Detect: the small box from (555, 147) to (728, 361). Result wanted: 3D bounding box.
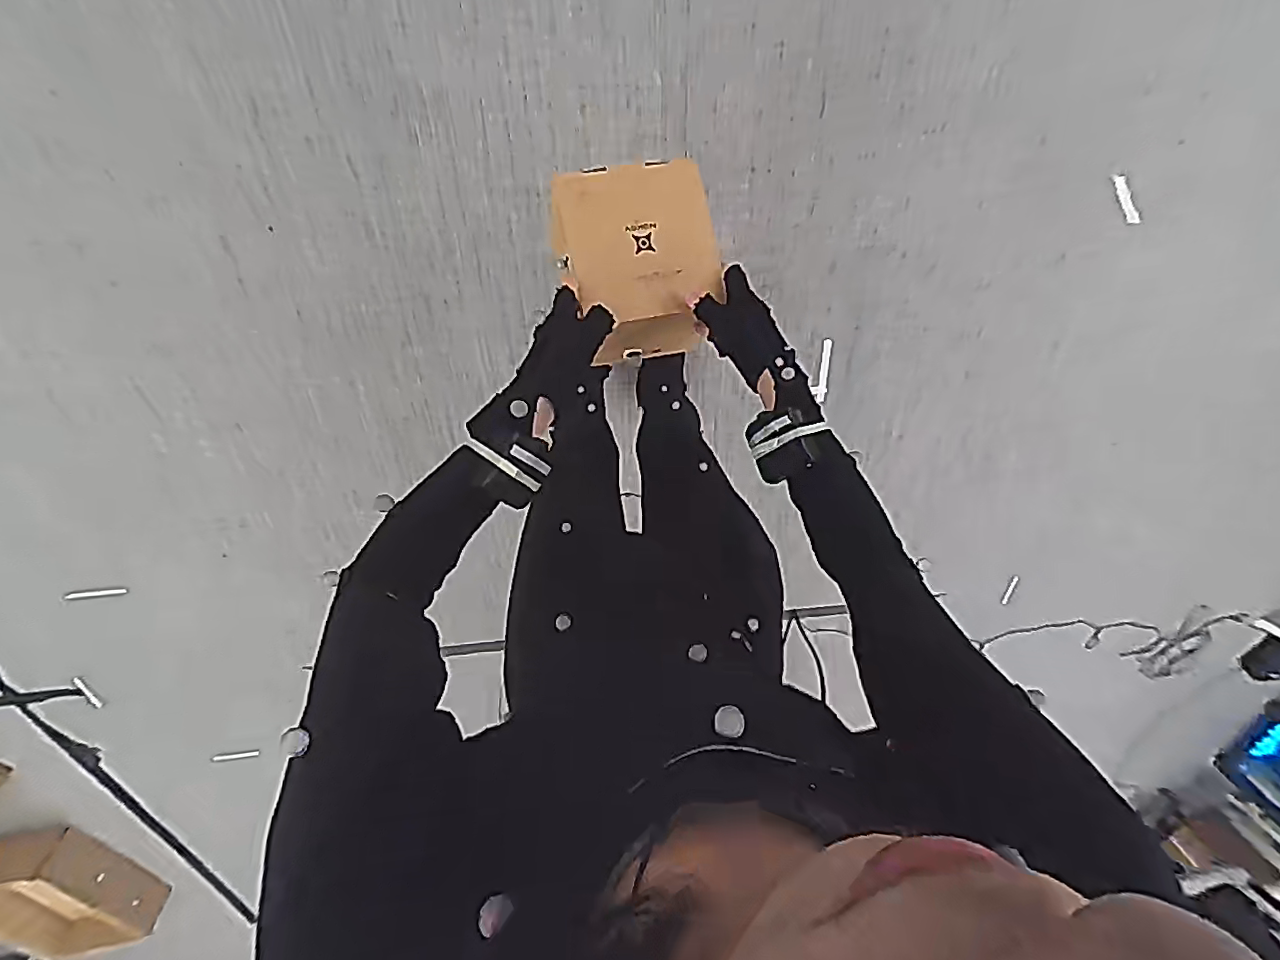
[{"bbox_3d":[-0.008,-0.267,0.668,0.168,0.176,0.179,-12,87,-8],"label":"small box"}]
